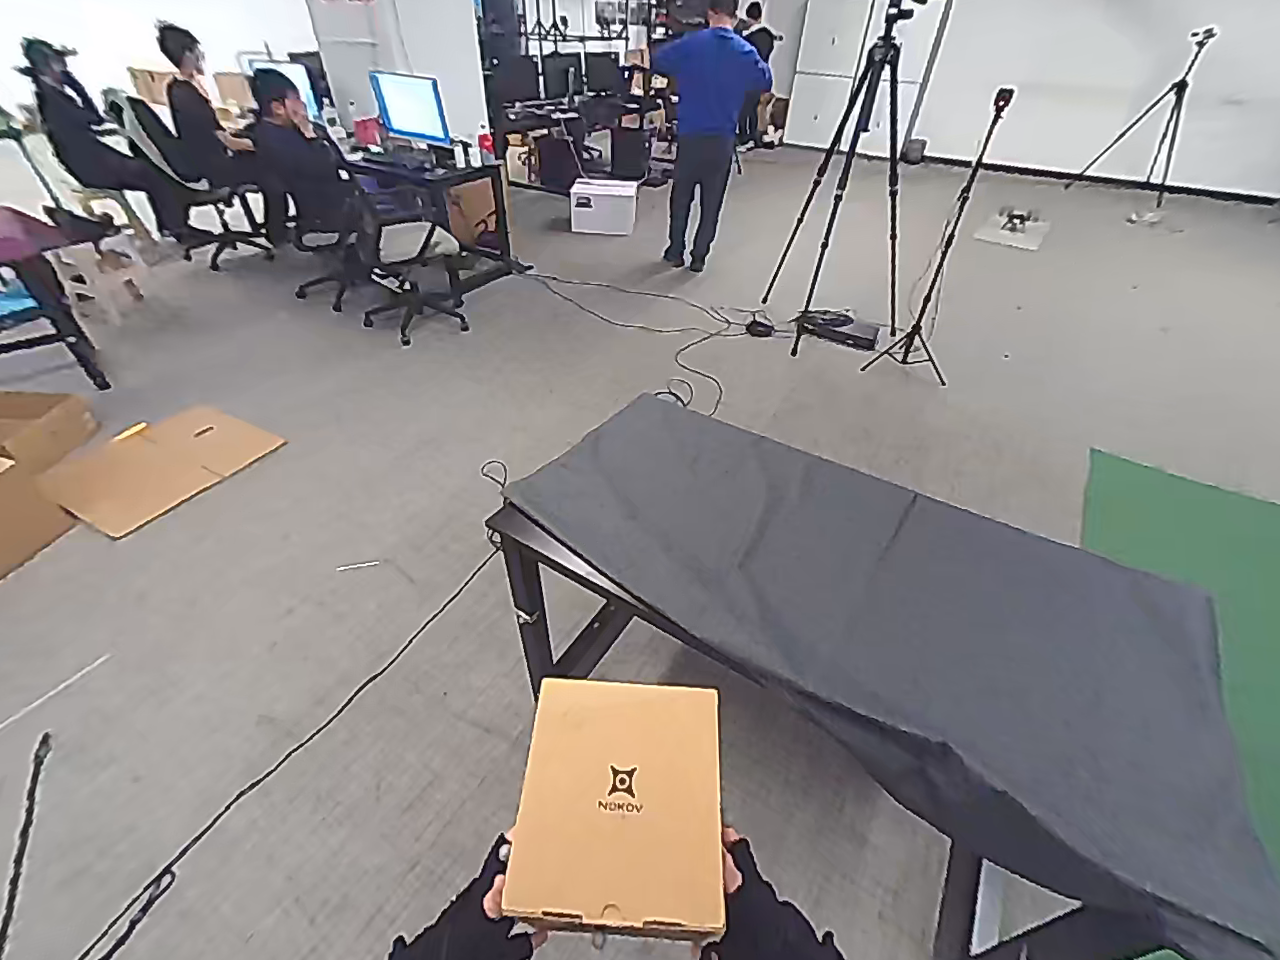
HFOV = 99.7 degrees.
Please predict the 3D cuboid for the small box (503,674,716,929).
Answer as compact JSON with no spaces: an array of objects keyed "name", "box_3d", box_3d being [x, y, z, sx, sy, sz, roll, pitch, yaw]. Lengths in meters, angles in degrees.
[{"name":"small box","box_3d":[-0.020,0.309,0.519,0.168,0.176,0.179,4,50,1]}]
